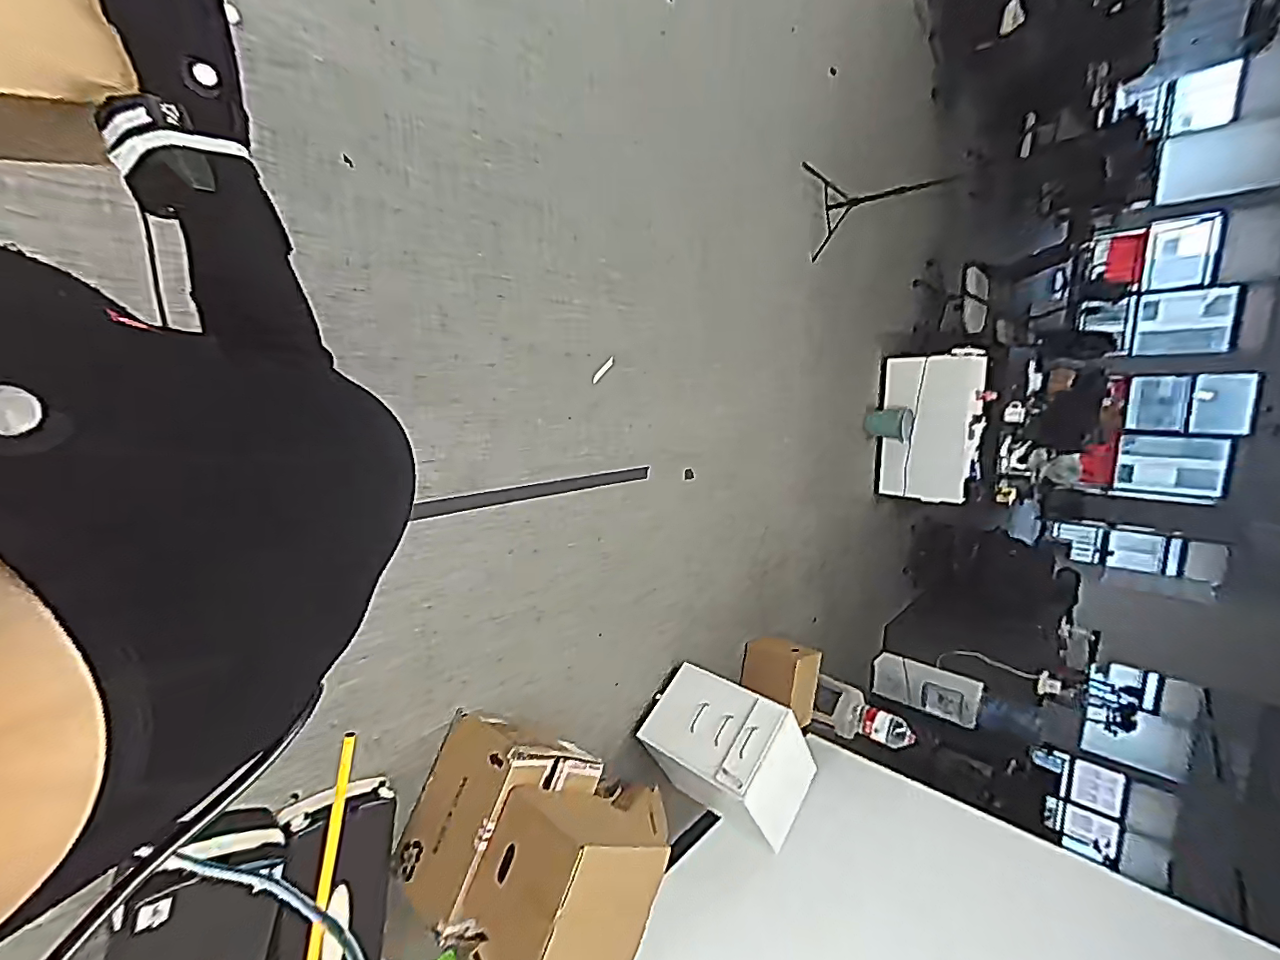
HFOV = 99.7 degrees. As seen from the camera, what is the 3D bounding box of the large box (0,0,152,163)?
[{"bbox_3d":[-0.615,-0.392,0.309,0.408,0.320,0.320,-25,122,-43],"label":"large box"}]
